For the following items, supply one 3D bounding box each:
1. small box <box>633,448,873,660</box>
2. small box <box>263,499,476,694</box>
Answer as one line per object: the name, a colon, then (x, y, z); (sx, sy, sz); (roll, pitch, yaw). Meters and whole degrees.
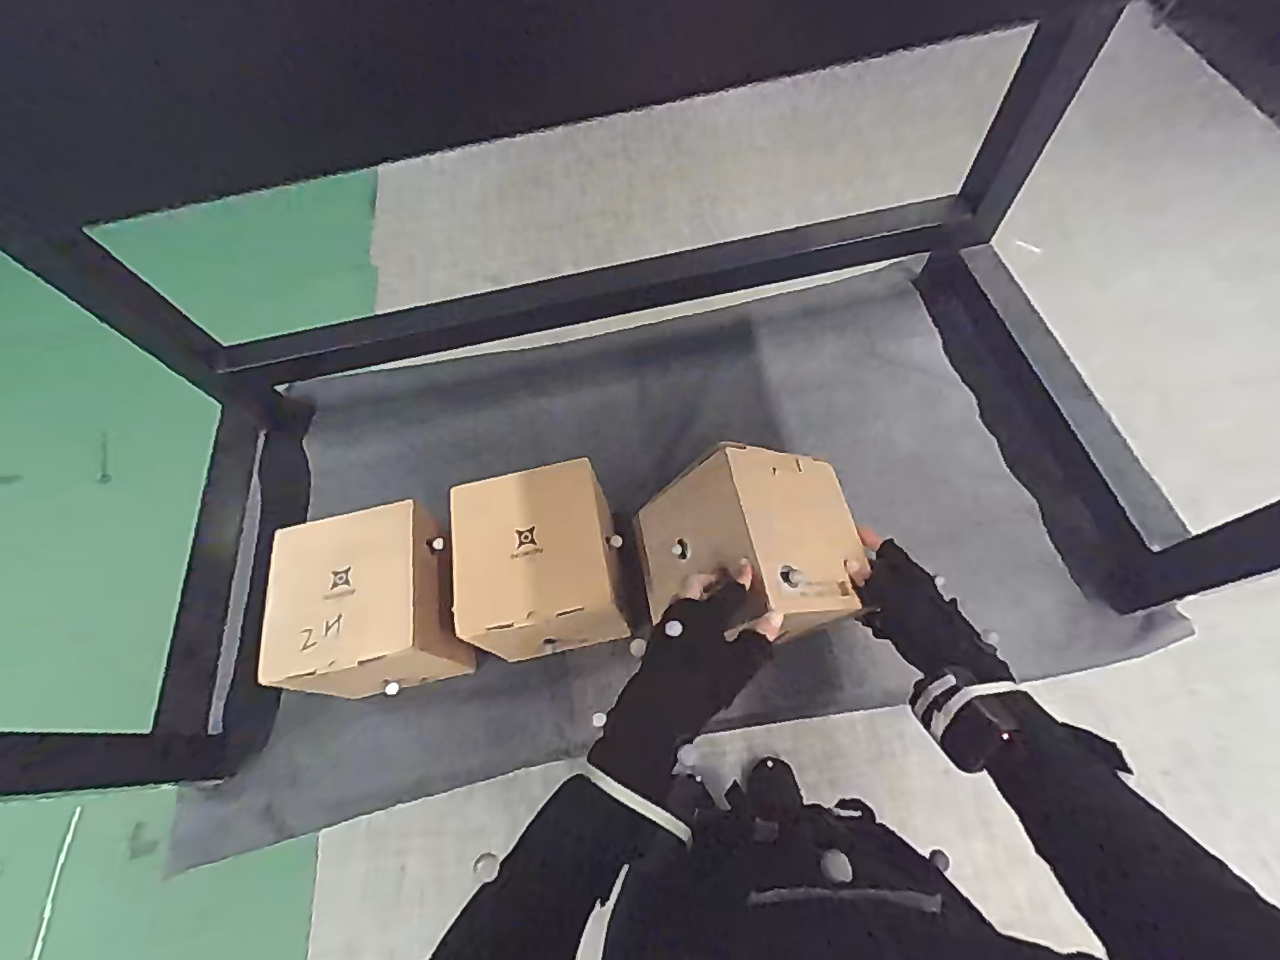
small box: (0.117, 0.087, 0.593); (0.168, 0.179, 0.176); (7, 57, -34)
small box: (-0.311, 0.148, 0.660); (0.168, 0.176, 0.179); (-13, 63, 1)
